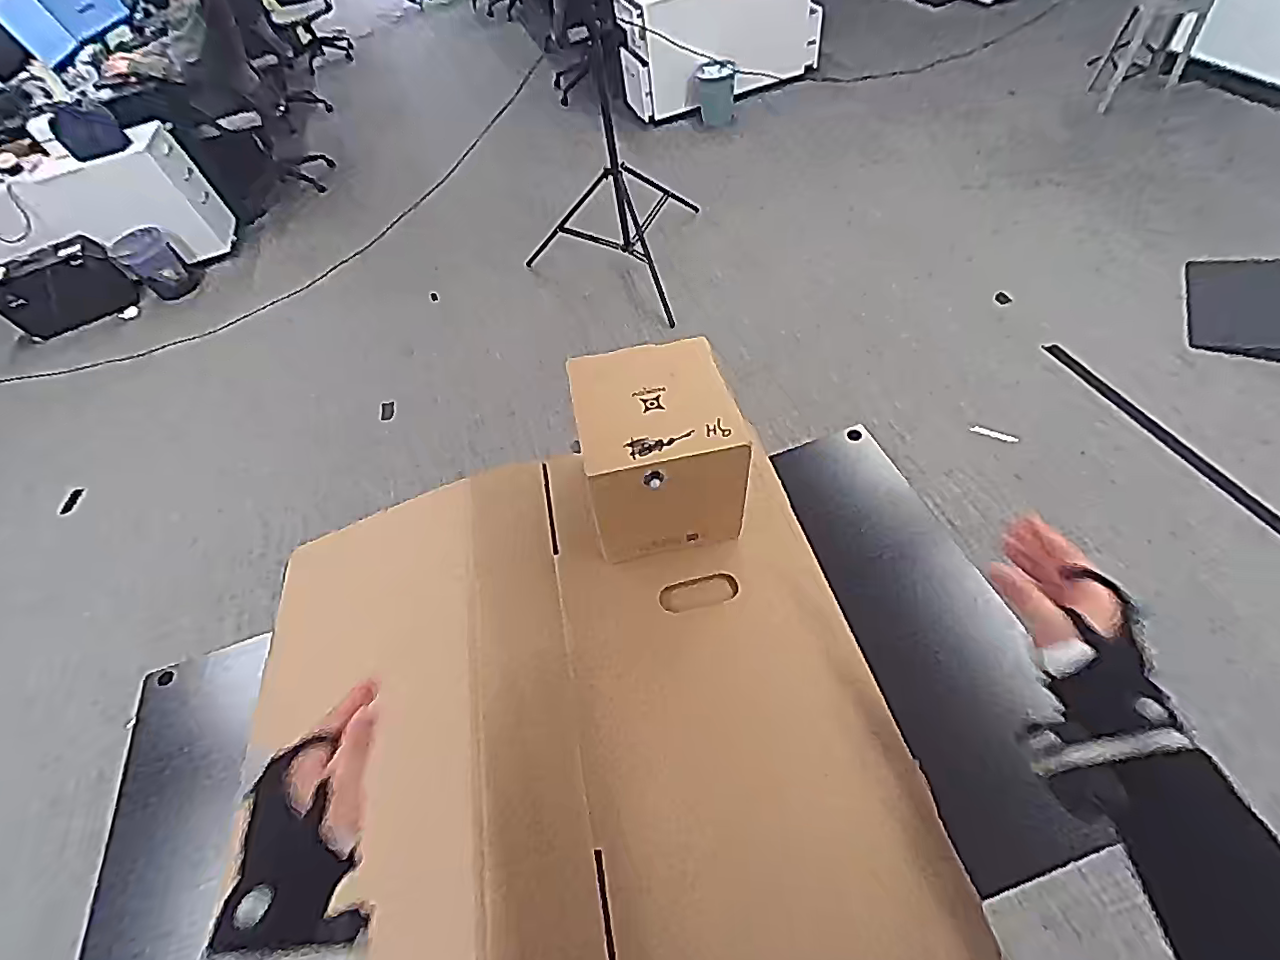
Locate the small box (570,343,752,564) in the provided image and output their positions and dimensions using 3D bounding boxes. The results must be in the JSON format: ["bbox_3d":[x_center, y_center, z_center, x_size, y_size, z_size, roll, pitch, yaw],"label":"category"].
[{"bbox_3d":[0.019,-0.029,0.628,0.168,0.176,0.179,-12,51,-3],"label":"small box"}]
